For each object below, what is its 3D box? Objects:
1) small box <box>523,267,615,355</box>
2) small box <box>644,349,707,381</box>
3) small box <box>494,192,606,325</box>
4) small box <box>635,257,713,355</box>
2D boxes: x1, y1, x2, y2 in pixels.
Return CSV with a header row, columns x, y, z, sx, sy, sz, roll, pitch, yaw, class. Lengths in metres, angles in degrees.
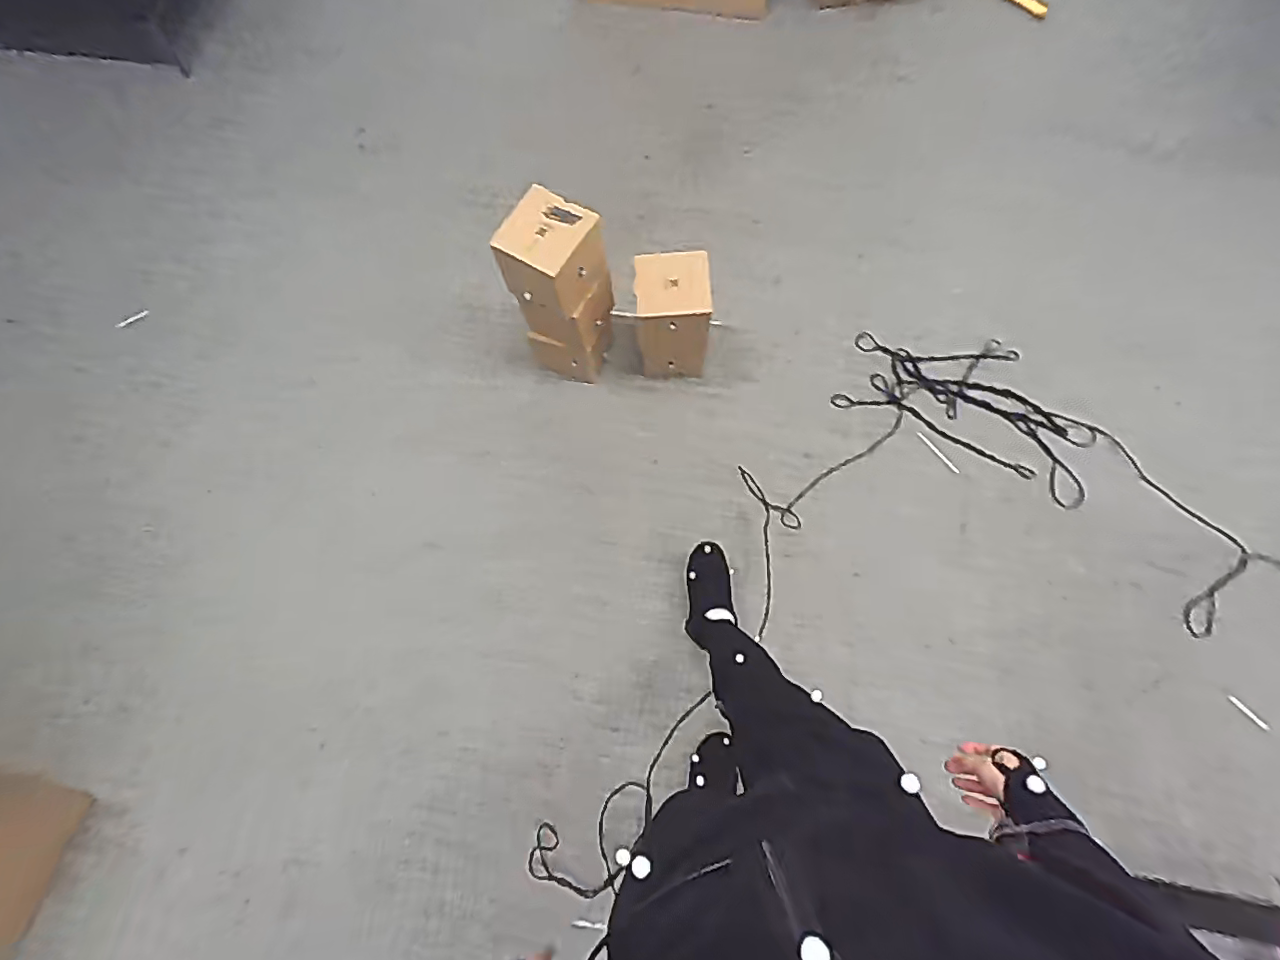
x,y,z,sx,sy,sz,roll,pitch,yaw,class
-0.177,-0.442,1.353,0.179,0.176,0.168,25,76,9,small box
0.101,-0.386,1.488,0.168,0.176,0.179,1,73,3,small box
-0.188,-0.482,1.194,0.168,0.176,0.179,30,77,11,small box
0.084,-0.421,1.330,0.179,0.176,0.168,-3,74,3,small box
